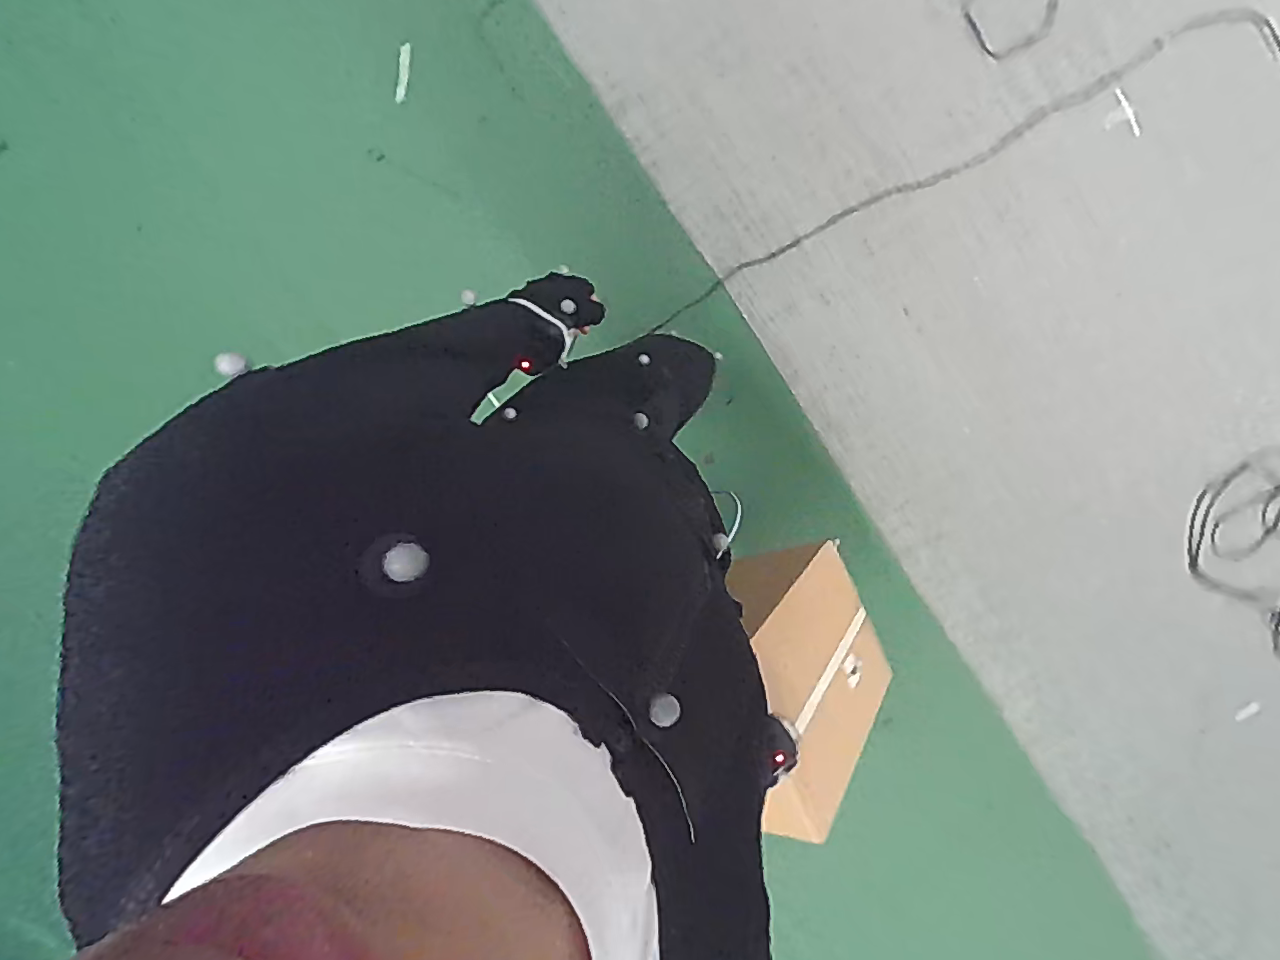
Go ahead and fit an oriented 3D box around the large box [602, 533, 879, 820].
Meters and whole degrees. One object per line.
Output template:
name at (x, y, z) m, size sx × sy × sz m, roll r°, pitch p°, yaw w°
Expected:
large box at (0.204, 0.349, 1.038) m, size 0.320 × 0.408 × 0.320 m, roll -19°, pitch 97°, yaw 42°
